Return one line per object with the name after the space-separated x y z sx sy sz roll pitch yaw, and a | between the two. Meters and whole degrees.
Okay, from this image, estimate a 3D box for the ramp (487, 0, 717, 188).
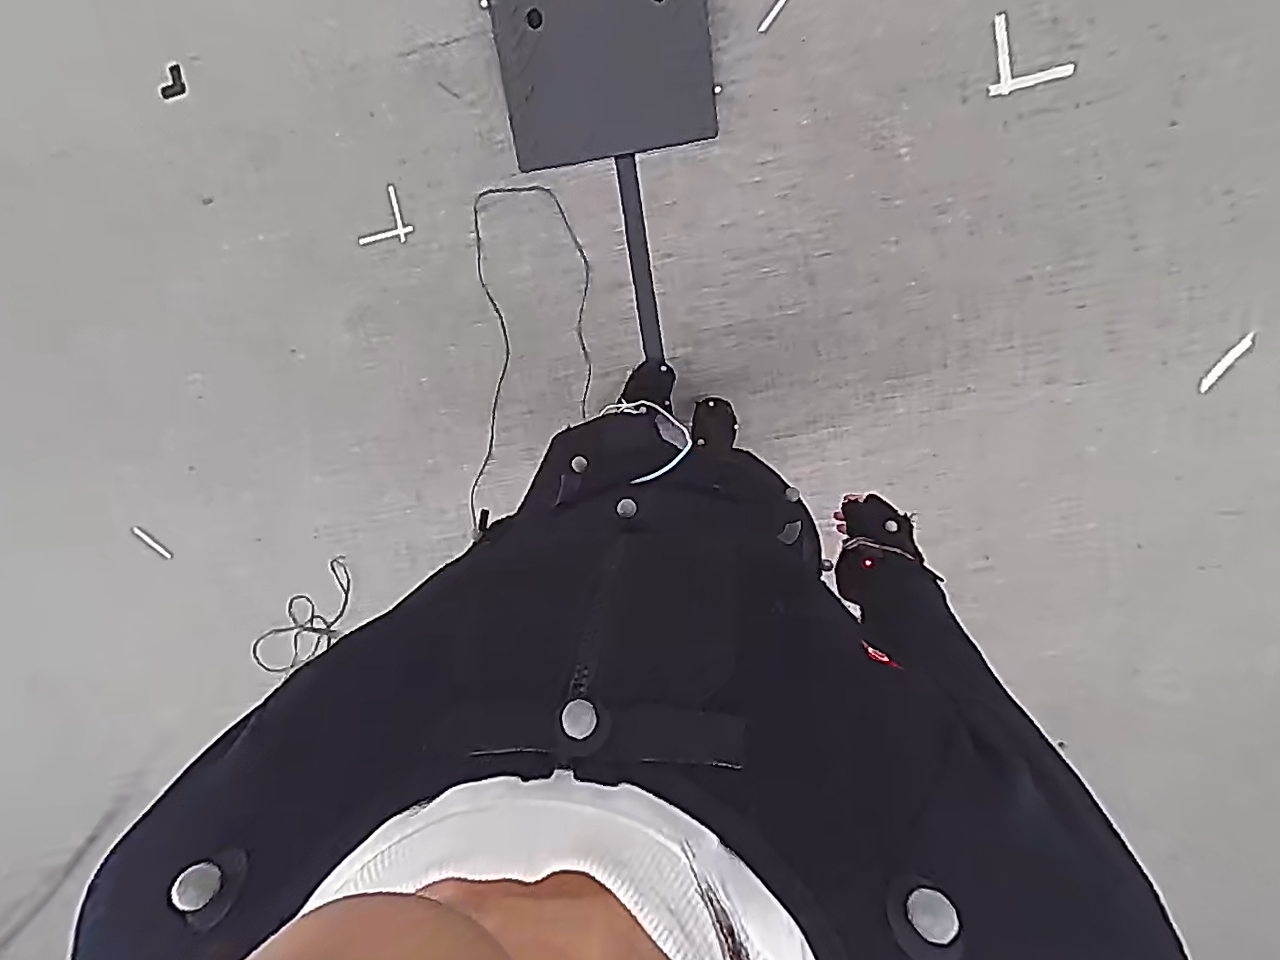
-0.129 -1.234 1.181 0.509 0.206 0.991 -9 99 7 | ramp
